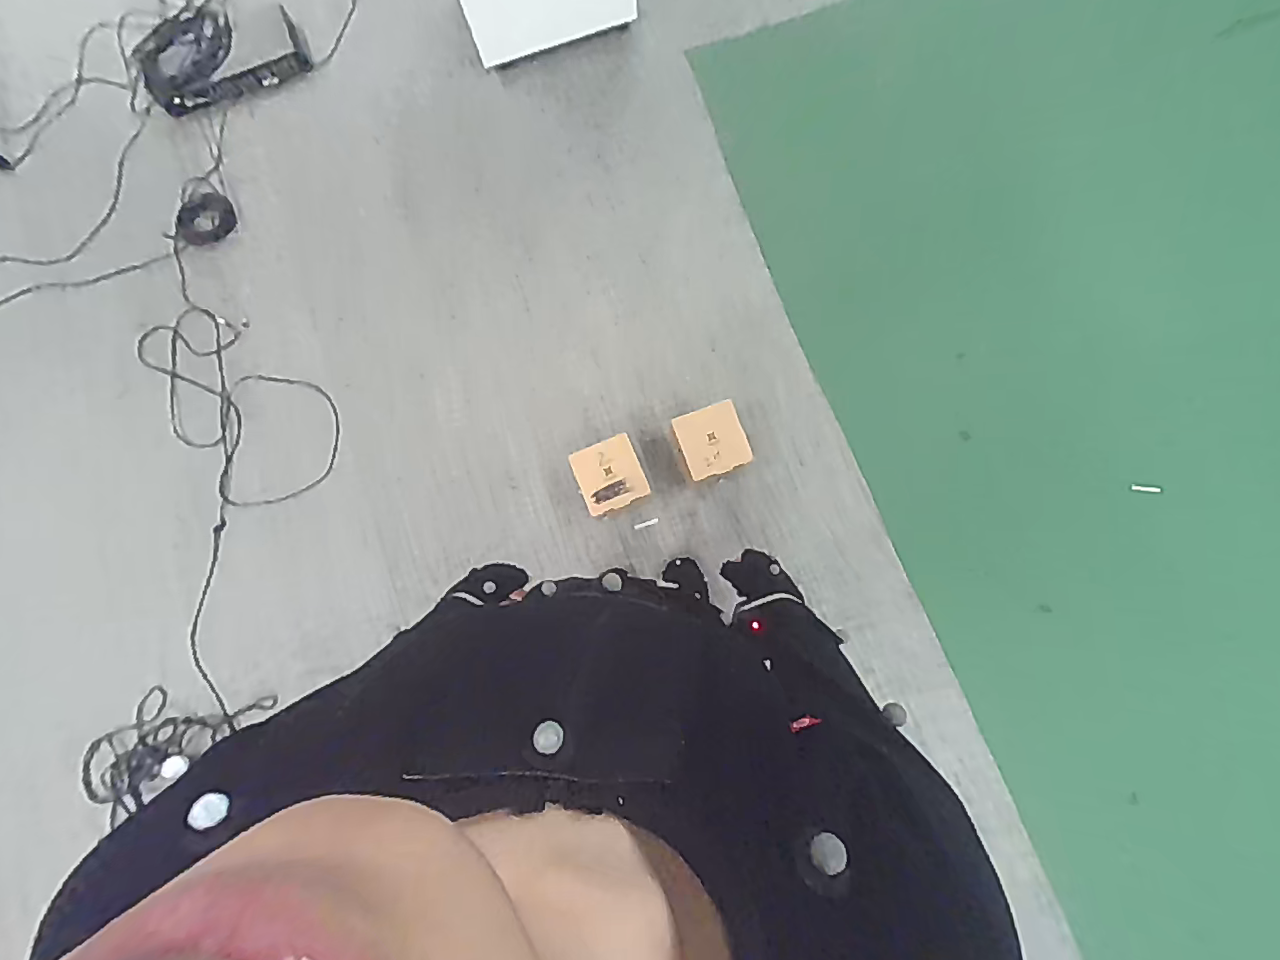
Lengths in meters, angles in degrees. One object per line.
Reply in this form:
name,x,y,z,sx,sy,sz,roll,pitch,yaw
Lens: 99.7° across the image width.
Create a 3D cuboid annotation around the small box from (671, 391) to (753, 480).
small box,0.186,-0.113,1.460,0.168,0.176,0.179,-20,82,0
